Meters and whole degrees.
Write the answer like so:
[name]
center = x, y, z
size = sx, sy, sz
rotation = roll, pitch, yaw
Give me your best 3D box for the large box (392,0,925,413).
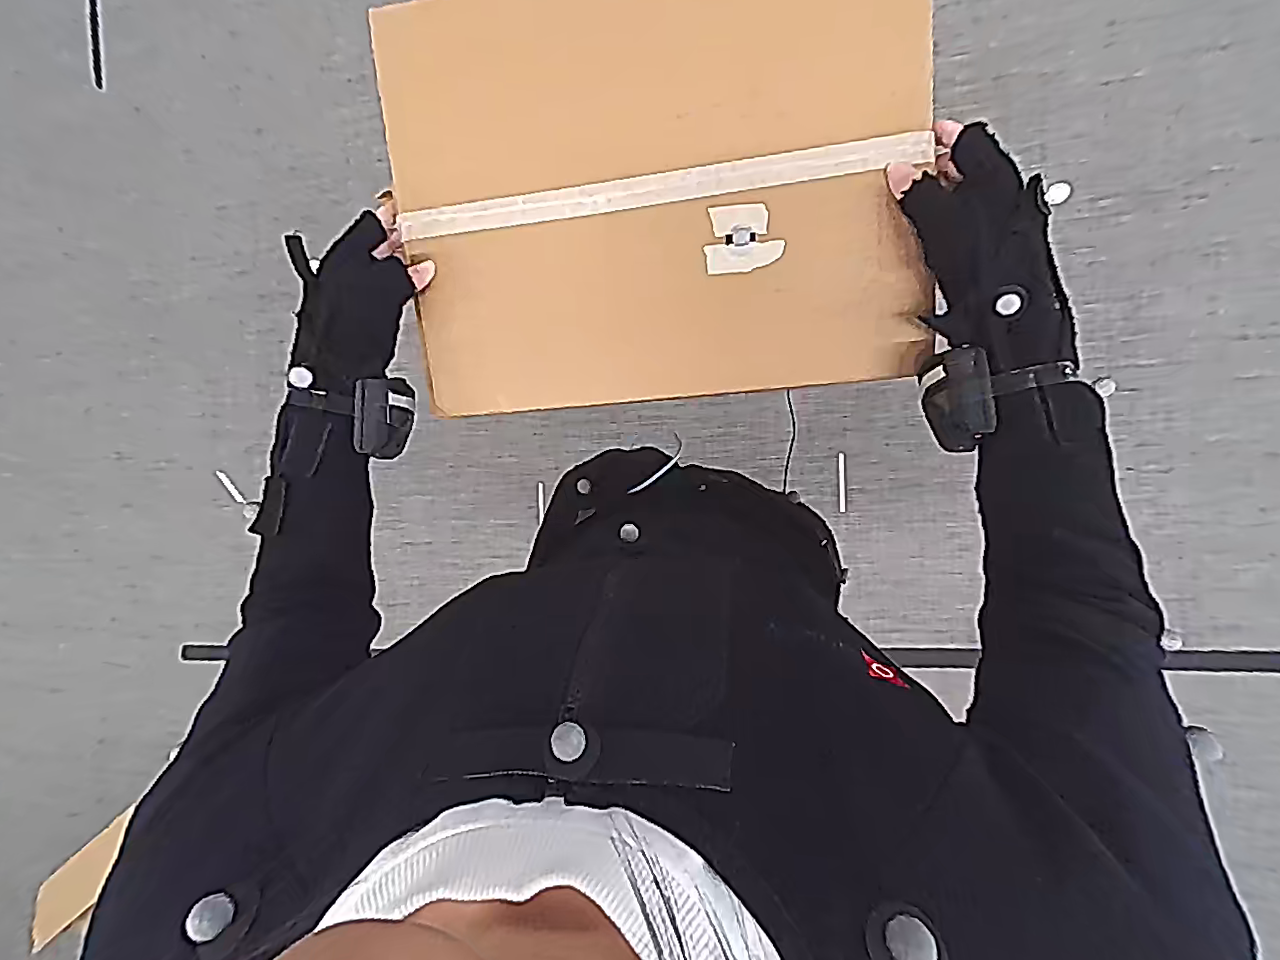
[large box]
center = 0.029, -0.252, 0.571
size = 0.408, 0.320, 0.320
rotation = -4, 100, 8
